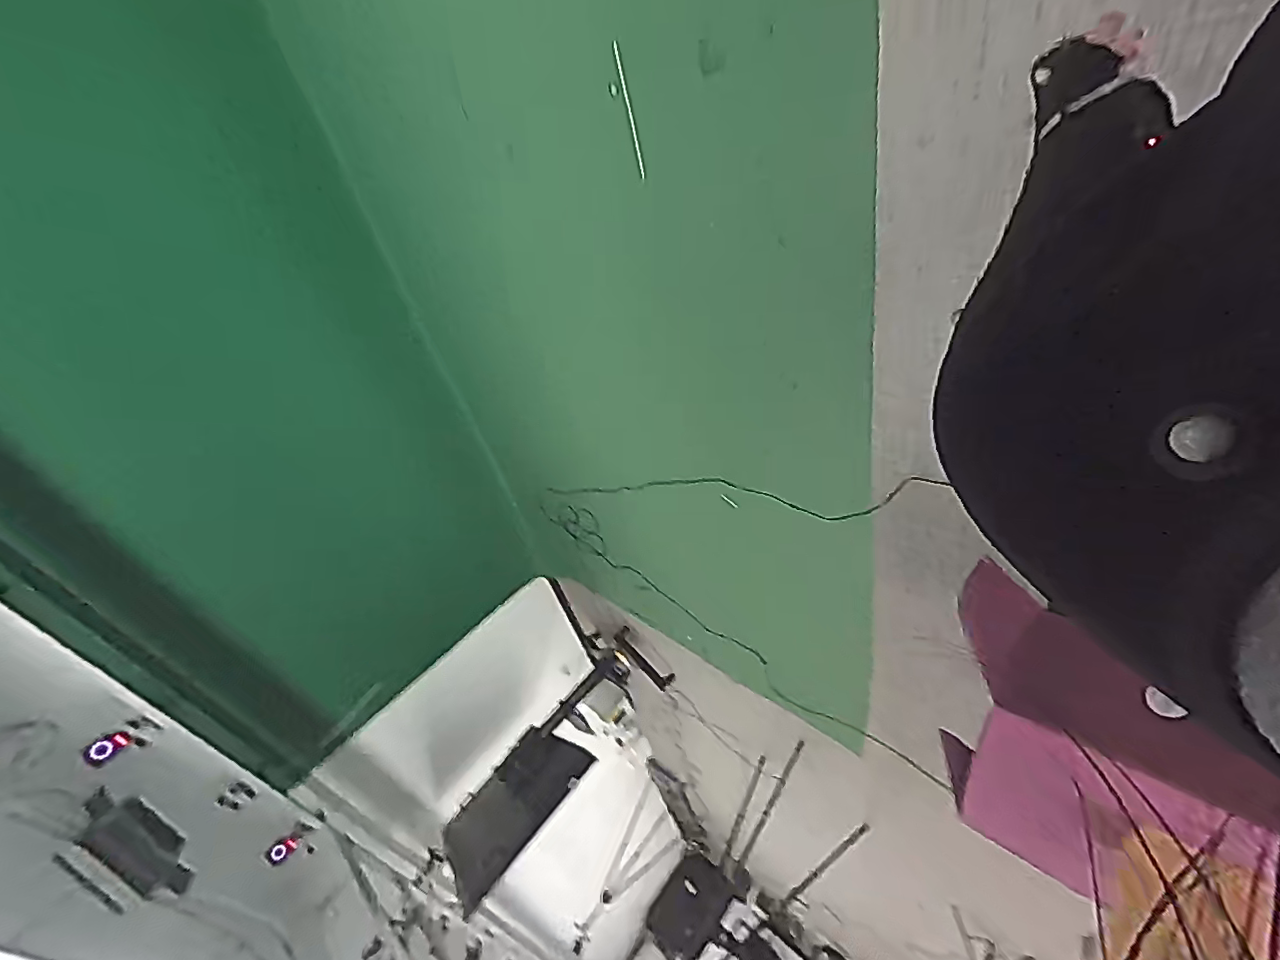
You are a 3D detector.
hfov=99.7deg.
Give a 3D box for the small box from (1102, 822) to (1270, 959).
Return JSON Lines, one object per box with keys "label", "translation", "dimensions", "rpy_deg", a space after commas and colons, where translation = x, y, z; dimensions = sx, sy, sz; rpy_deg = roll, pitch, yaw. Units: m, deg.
{"label": "small box", "translation": [0.975, 0.763, 0.972], "dimensions": [0.168, 0.176, 0.179], "rpy_deg": [22, 142, 38]}
